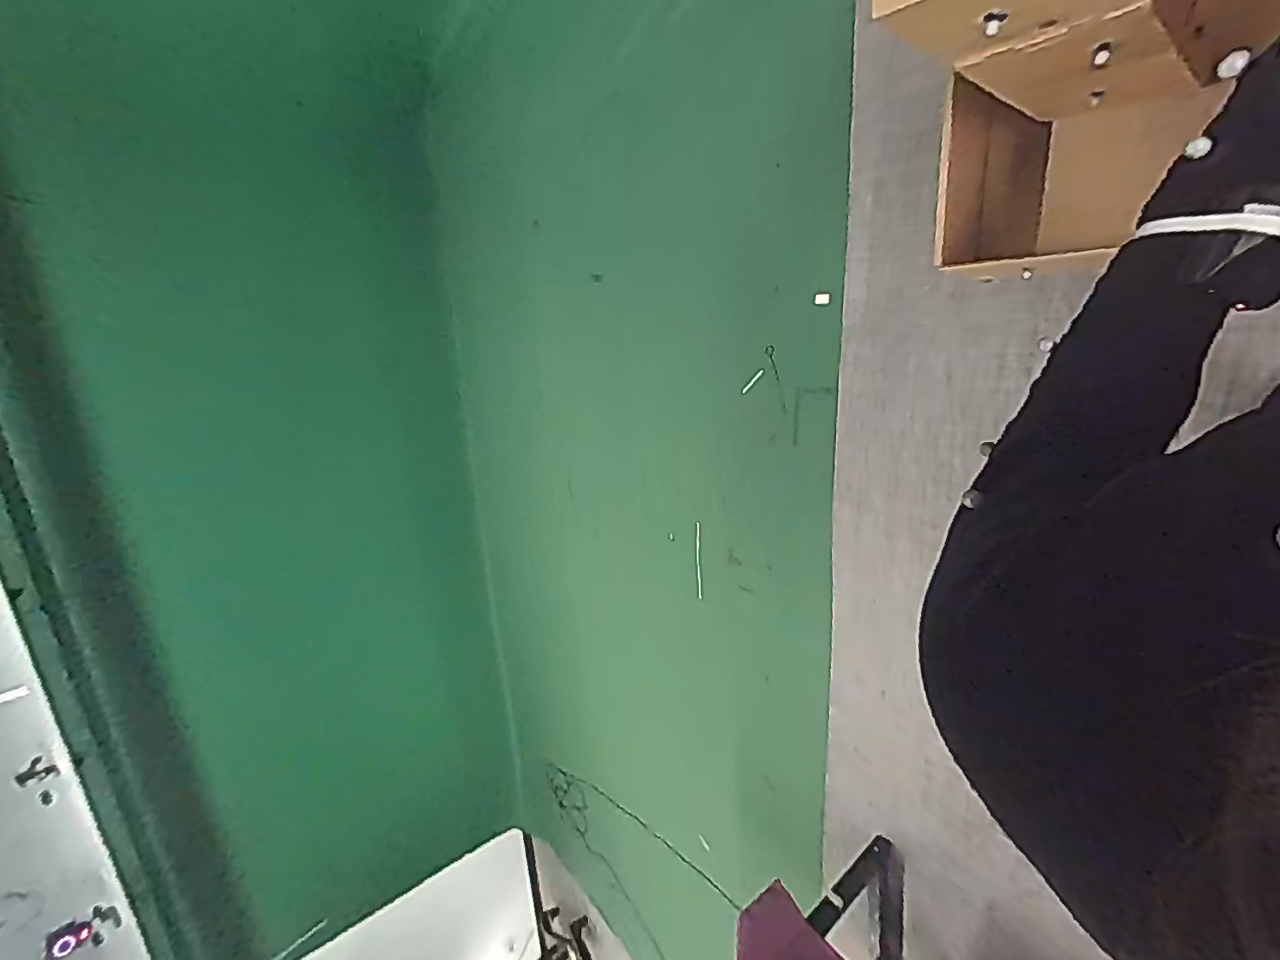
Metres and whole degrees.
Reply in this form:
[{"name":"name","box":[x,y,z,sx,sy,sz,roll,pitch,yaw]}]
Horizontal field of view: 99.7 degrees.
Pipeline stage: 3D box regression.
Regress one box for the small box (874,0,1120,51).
[{"name":"small box","box":[0.335,-0.517,0.478,0.168,0.176,0.179,19,117,46]}]

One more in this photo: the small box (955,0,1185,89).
[{"name":"small box","box":[0.465,-0.546,0.573,0.168,0.176,0.179,17,115,48]}]
